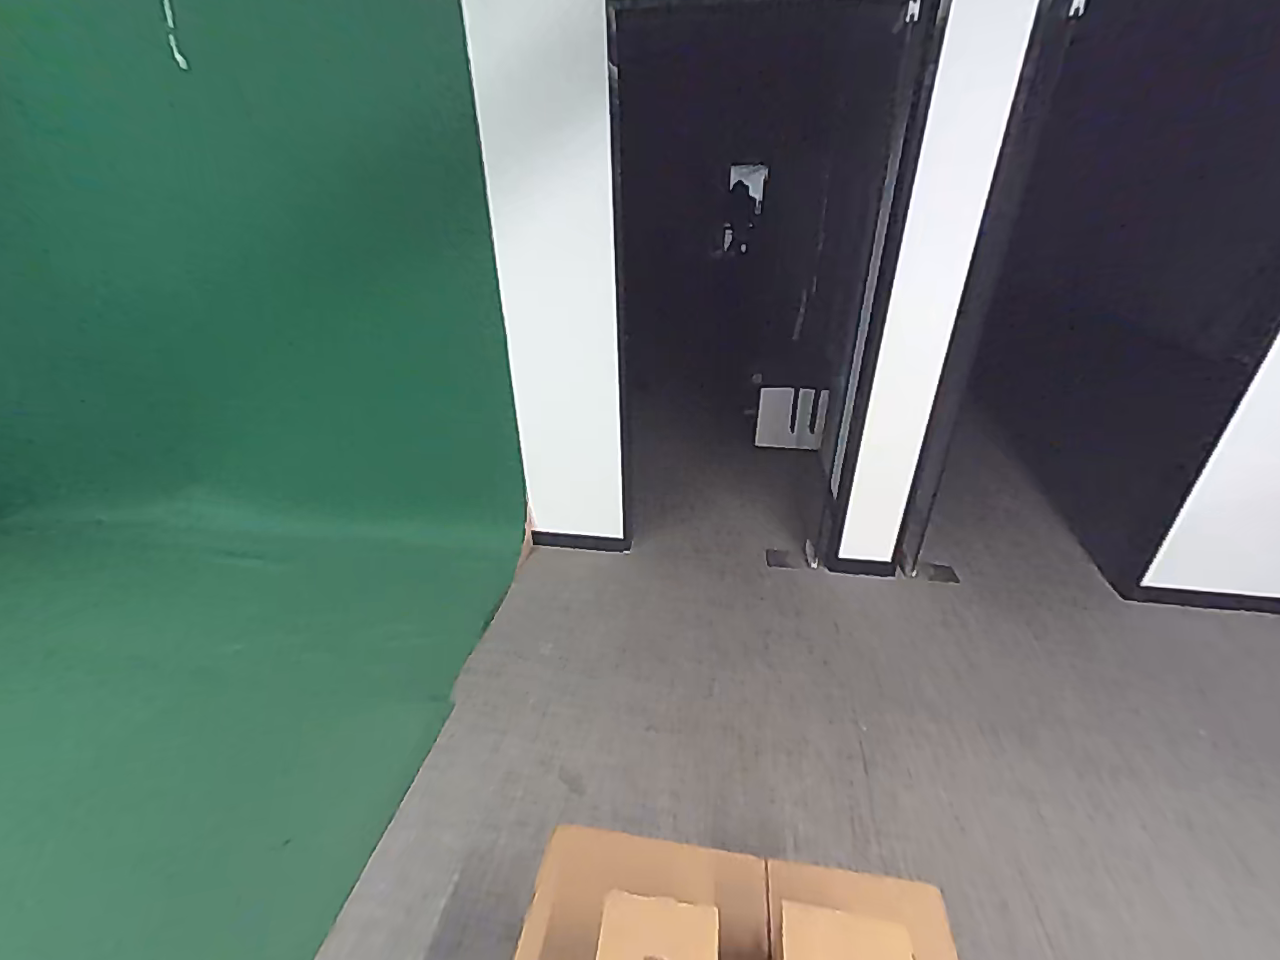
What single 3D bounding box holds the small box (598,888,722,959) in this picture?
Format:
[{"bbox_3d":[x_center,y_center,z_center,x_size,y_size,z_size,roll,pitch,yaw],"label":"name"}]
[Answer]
[{"bbox_3d":[0.025,0.720,0.751,0.168,0.176,0.179,2,27,9],"label":"small box"}]
